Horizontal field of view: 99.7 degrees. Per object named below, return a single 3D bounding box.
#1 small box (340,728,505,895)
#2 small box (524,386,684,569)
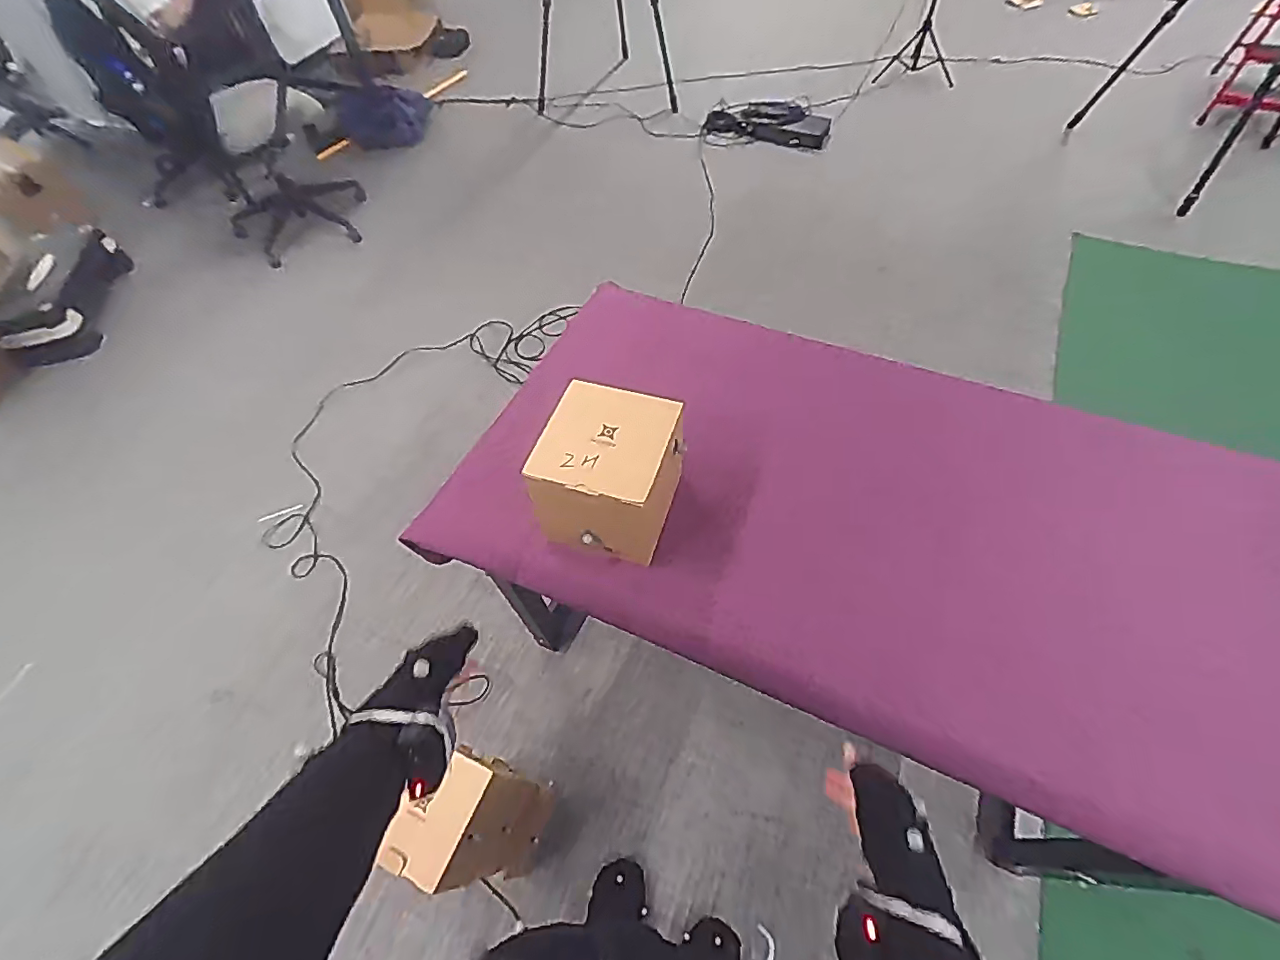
[{"bbox_3d":[-0.347,0.548,0.908,0.168,0.176,0.179,19,62,15],"label":"small box"},{"bbox_3d":[-0.044,-0.001,0.777,0.168,0.176,0.179,15,57,12],"label":"small box"}]
